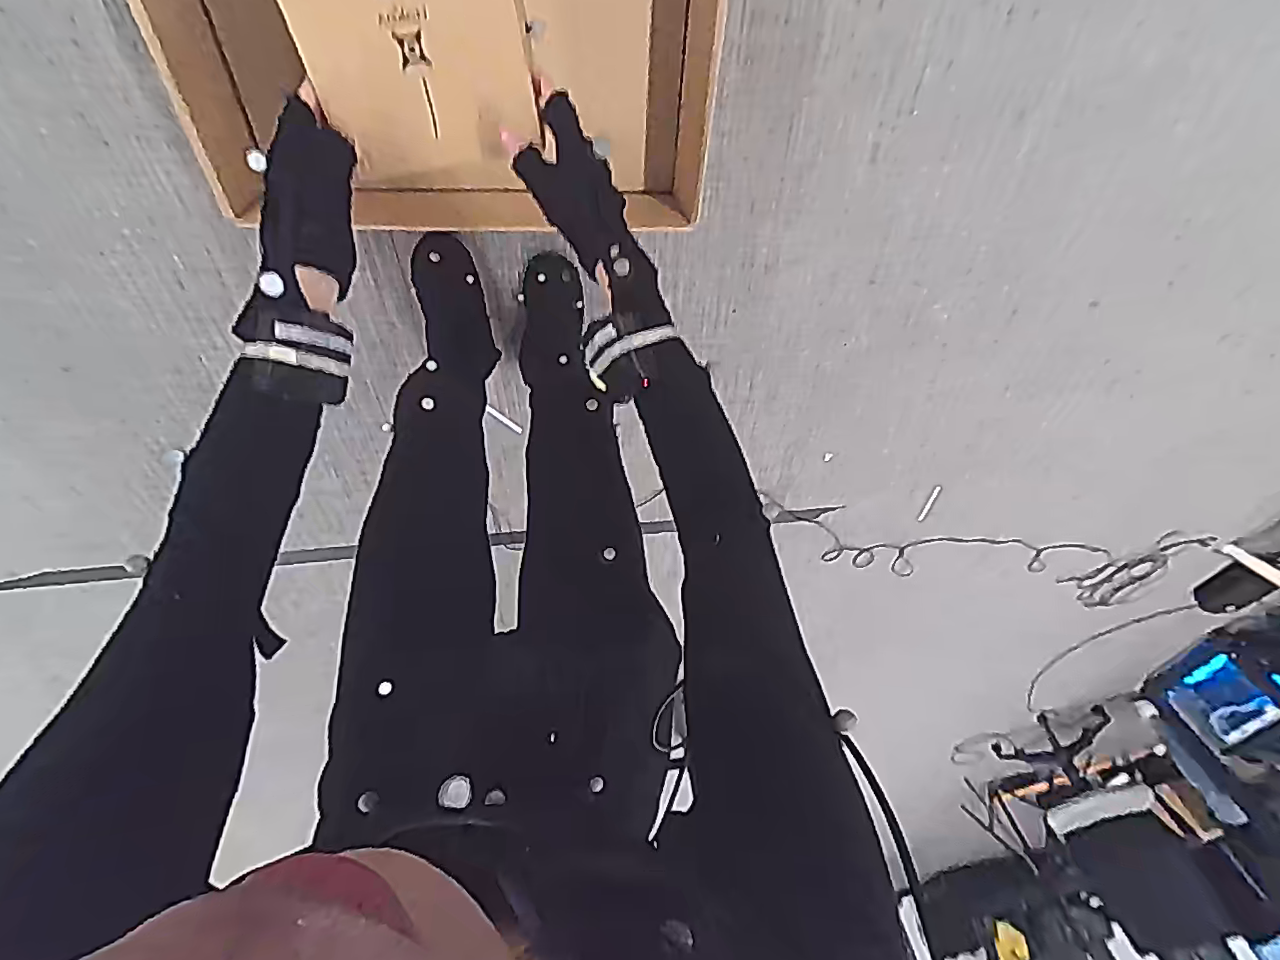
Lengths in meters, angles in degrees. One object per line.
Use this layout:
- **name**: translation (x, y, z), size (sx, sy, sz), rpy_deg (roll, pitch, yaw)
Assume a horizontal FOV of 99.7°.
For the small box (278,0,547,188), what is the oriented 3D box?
- **small box**: translation (-0.178, -0.369, 0.456), size (0.168, 0.176, 0.179), rpy_deg (-9, 131, -2)
